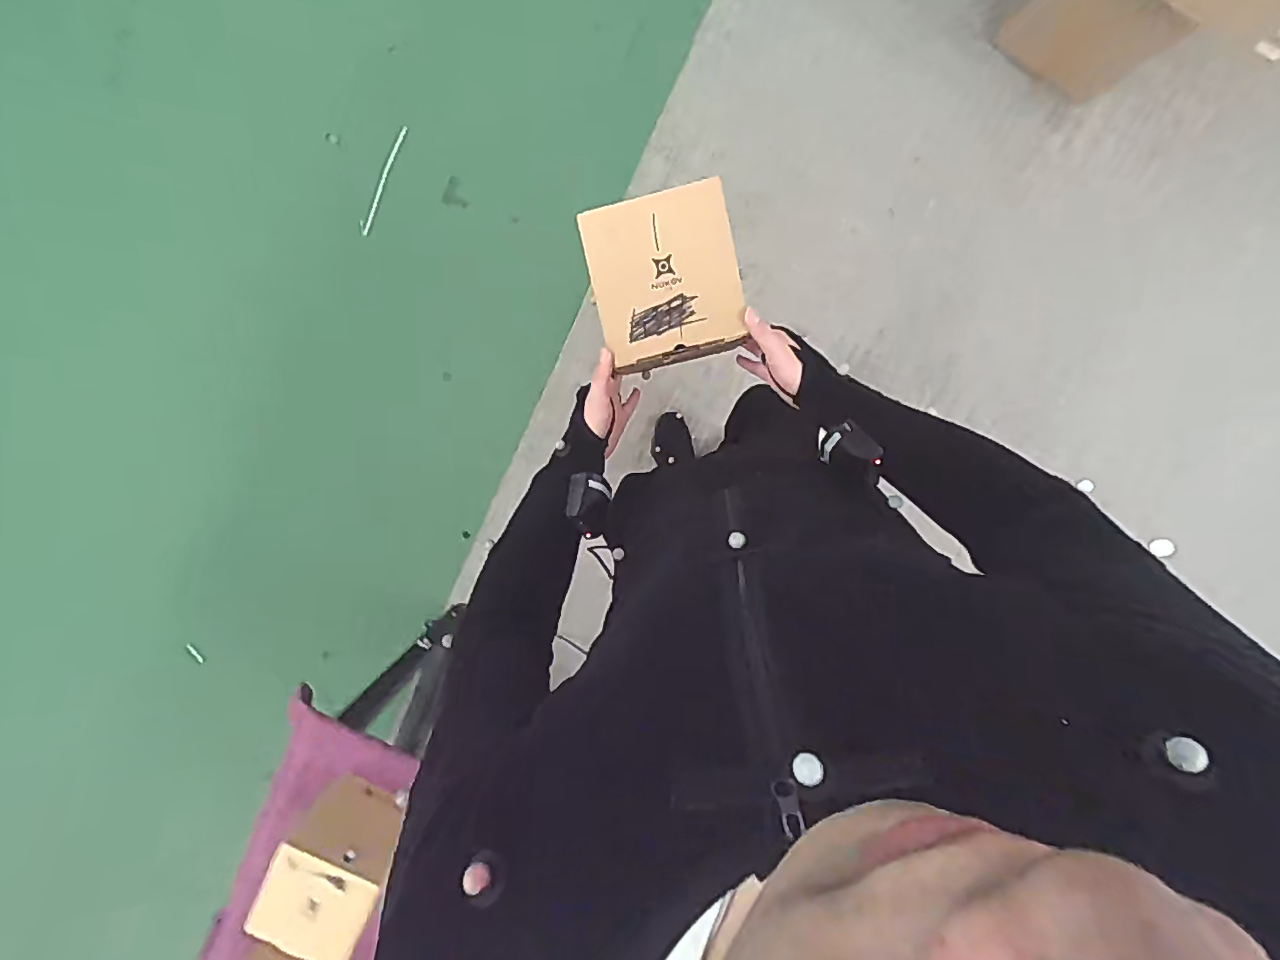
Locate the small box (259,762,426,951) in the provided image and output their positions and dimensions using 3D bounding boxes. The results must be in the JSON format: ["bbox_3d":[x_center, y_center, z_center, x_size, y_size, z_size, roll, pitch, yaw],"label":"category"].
[{"bbox_3d":[-0.504,0.642,0.941,0.168,0.176,0.179,26,99,-1],"label":"small box"}]

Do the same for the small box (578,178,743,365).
[{"bbox_3d":[0.032,-0.249,0.695,0.168,0.176,0.179,-11,97,6],"label":"small box"}]

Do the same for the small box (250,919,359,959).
[{"bbox_3d":[-0.655,0.959,0.996,0.168,0.176,0.179,23,98,-3],"label":"small box"}]
